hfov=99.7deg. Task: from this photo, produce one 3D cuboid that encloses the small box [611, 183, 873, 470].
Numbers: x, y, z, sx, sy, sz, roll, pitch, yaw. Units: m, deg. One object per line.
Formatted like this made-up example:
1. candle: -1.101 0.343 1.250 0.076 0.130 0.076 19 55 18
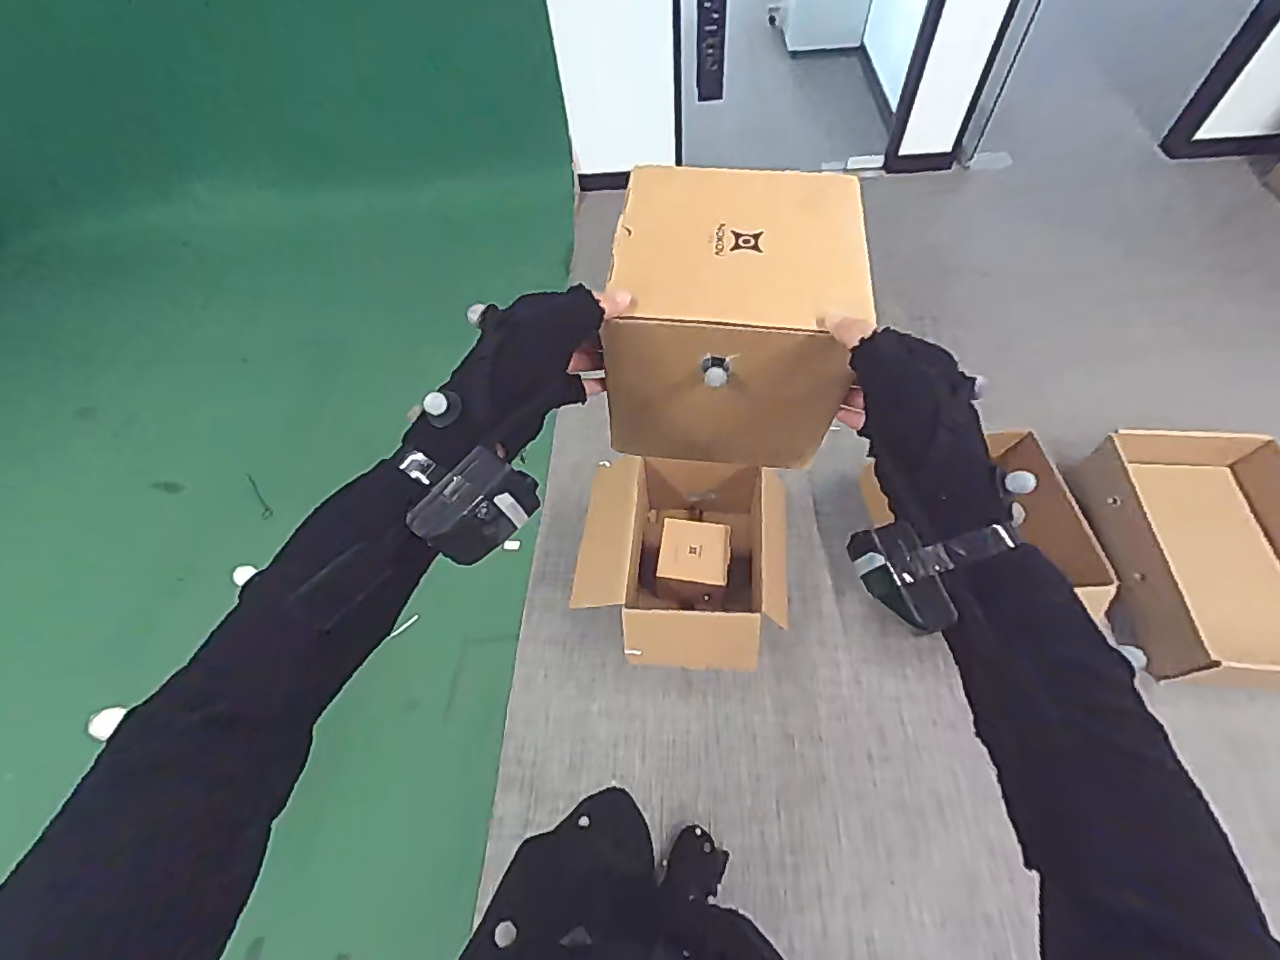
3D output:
1. small box: 0.077 -0.122 0.465 0.179 0.176 0.168 5 60 4
